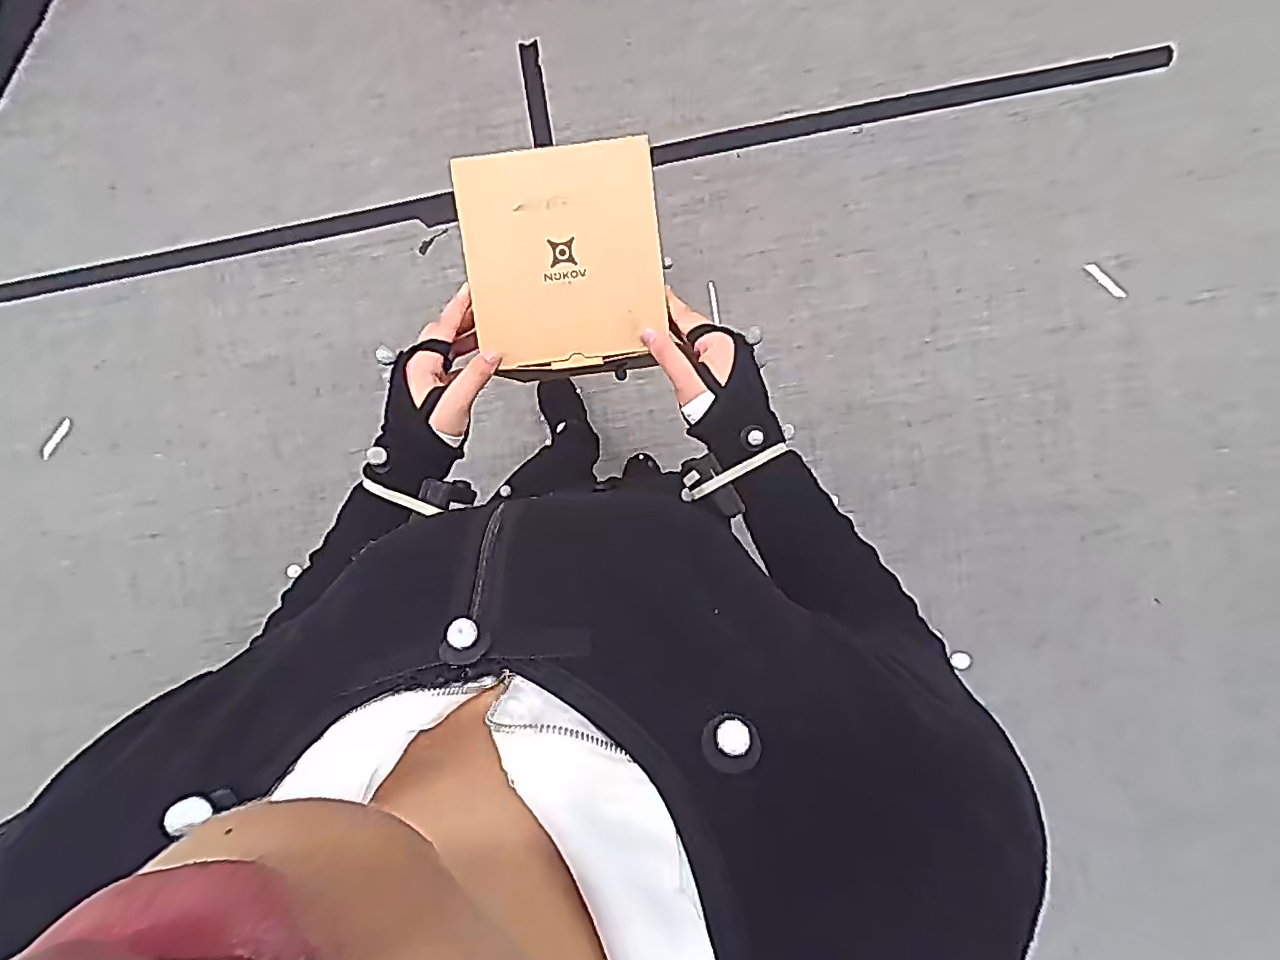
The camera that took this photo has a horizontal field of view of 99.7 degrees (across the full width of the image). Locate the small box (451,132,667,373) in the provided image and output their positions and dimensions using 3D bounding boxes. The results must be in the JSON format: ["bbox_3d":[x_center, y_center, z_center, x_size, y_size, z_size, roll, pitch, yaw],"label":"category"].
[{"bbox_3d":[-0.067,-0.202,0.532,0.168,0.176,0.179,-7,97,-1],"label":"small box"}]
